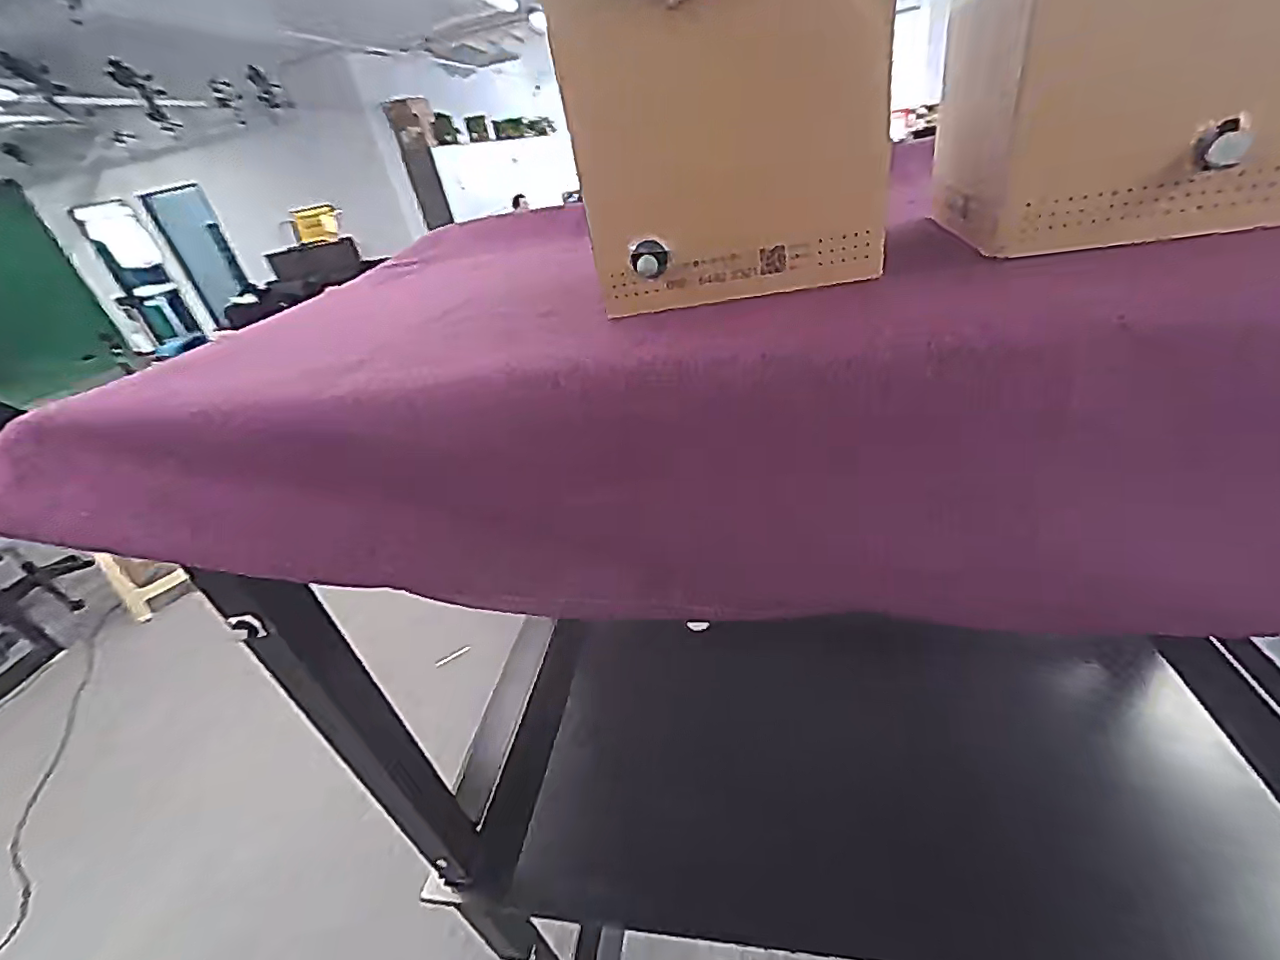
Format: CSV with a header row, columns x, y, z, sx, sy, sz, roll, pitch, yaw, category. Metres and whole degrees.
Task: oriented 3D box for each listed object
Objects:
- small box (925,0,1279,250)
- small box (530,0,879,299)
x,y,z,sx,sy,sz,roll,pitch,yaw,category
0.274,-0.237,0.293,0.179,0.176,0.168,-2,32,15,small box
0.048,-0.223,0.347,0.168,0.176,0.179,-6,31,10,small box
